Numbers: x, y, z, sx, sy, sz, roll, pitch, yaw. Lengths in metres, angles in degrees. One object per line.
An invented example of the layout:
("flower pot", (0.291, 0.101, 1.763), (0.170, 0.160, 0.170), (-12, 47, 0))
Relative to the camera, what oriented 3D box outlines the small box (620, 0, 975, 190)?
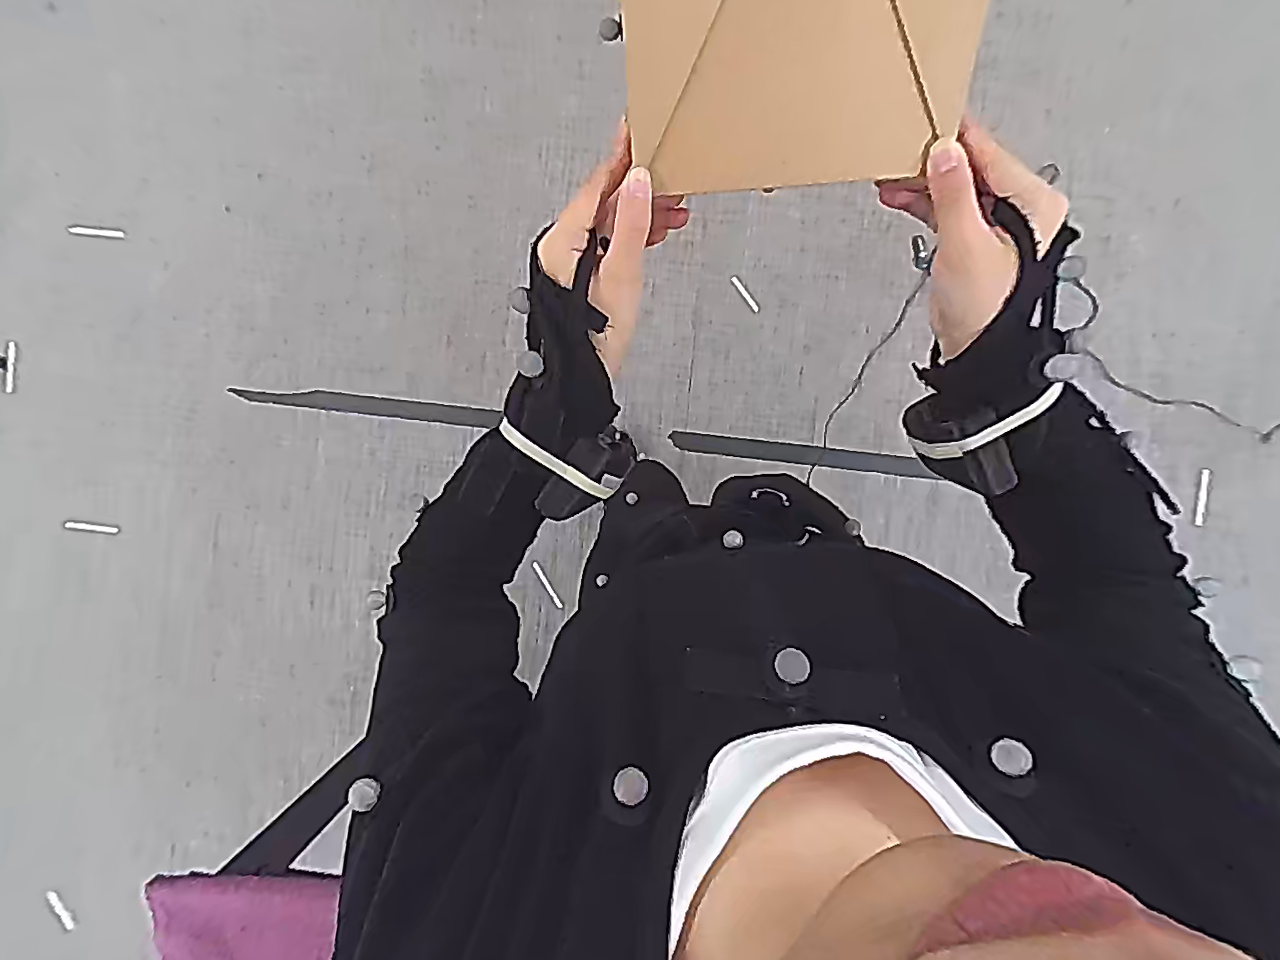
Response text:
("small box", (0.073, -0.277, 0.308), (0.168, 0.176, 0.179), (-3, 128, 2))
